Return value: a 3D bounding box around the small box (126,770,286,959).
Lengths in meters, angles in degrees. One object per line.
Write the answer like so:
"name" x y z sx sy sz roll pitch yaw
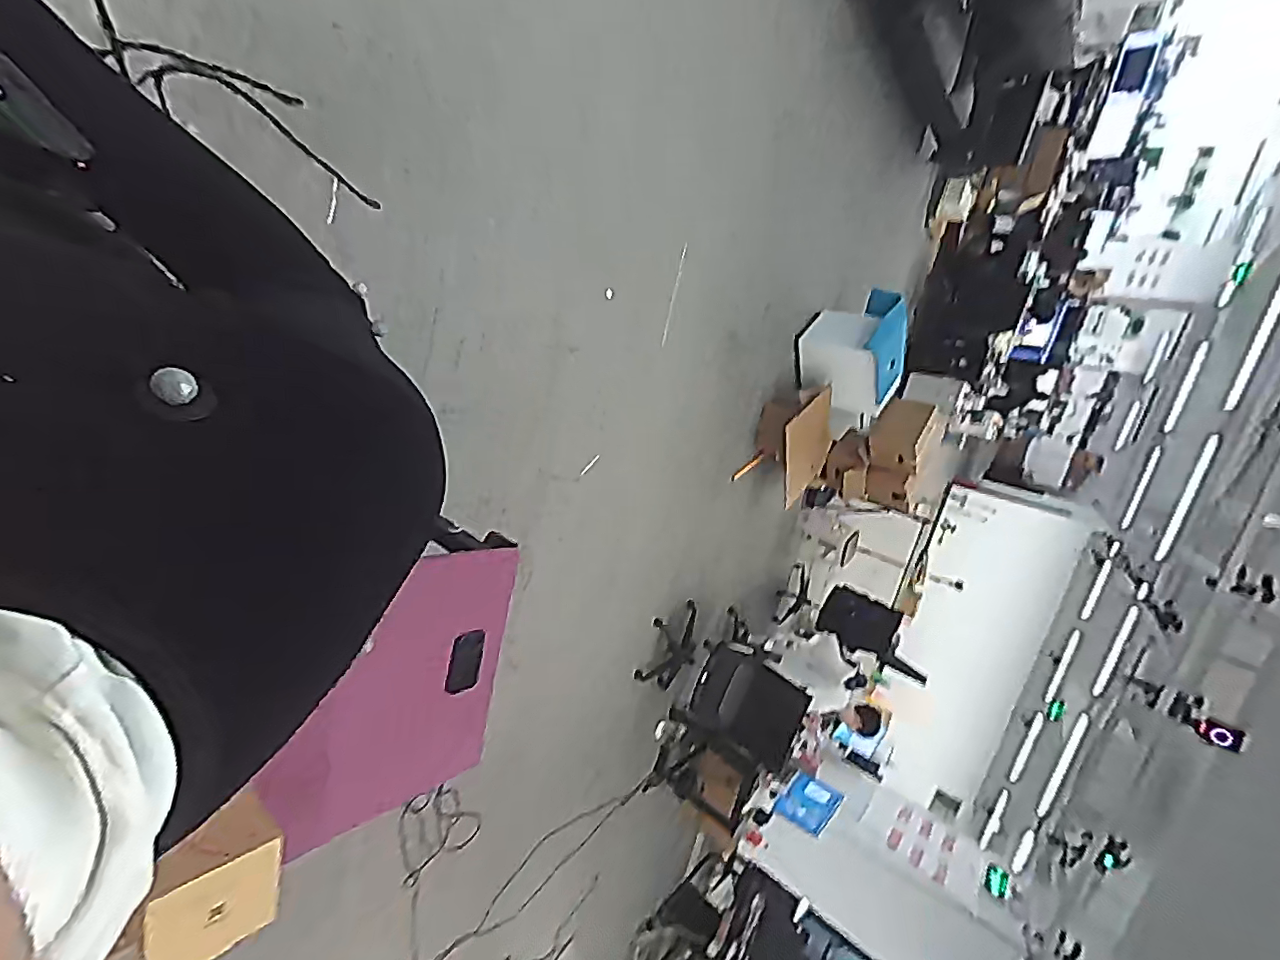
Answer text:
"small box" -0.700 0.618 0.872 0.168 0.176 0.179 -4 111 -52
